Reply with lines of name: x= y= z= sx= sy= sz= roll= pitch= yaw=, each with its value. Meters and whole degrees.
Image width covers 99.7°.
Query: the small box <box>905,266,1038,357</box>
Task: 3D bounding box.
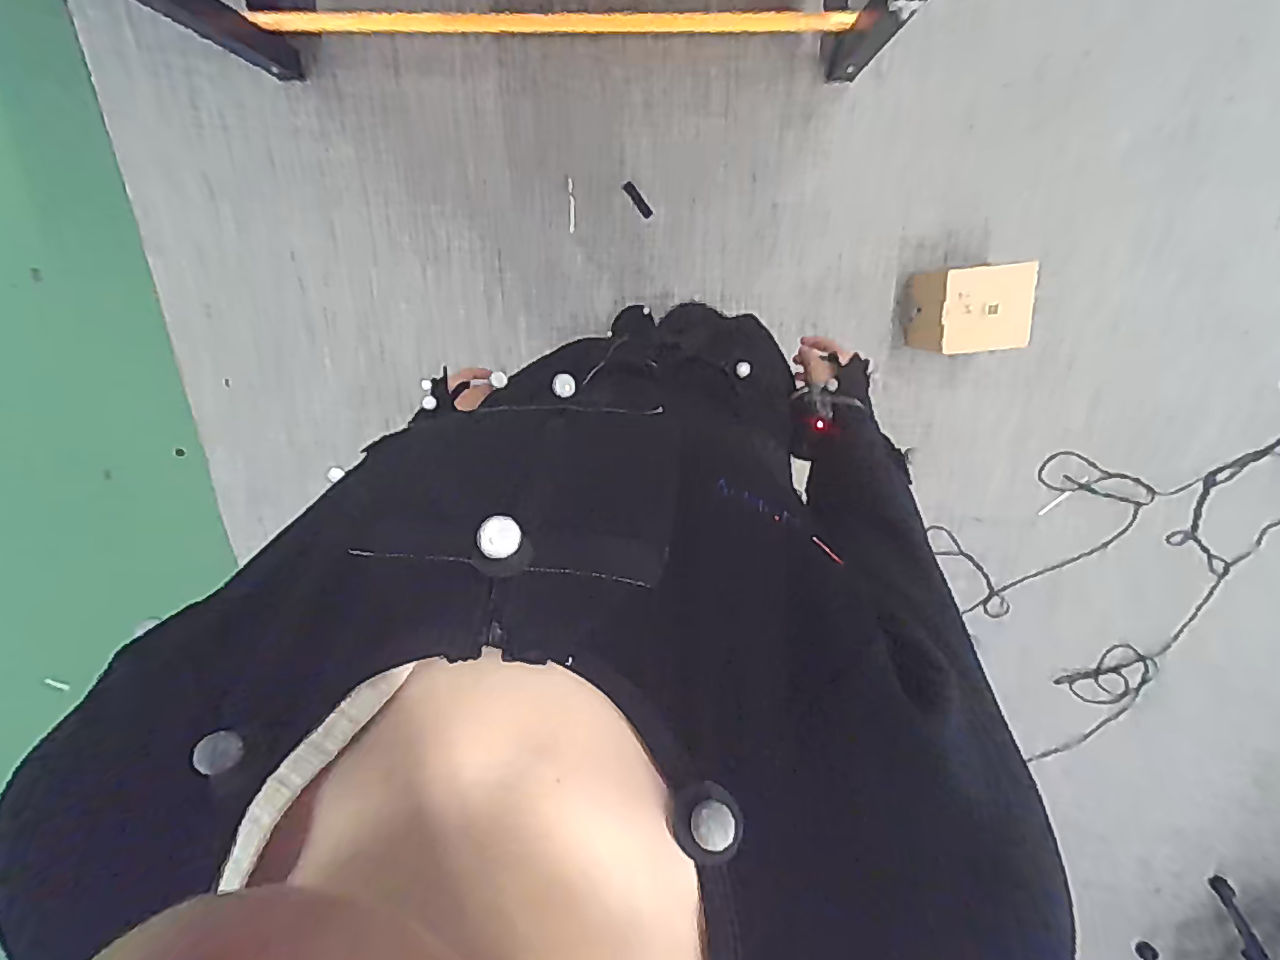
small box: x=0.695 y=-0.360 z=1.152 sx=0.179 sy=0.176 sz=0.168 roll=-4 pitch=109 yaw=4
